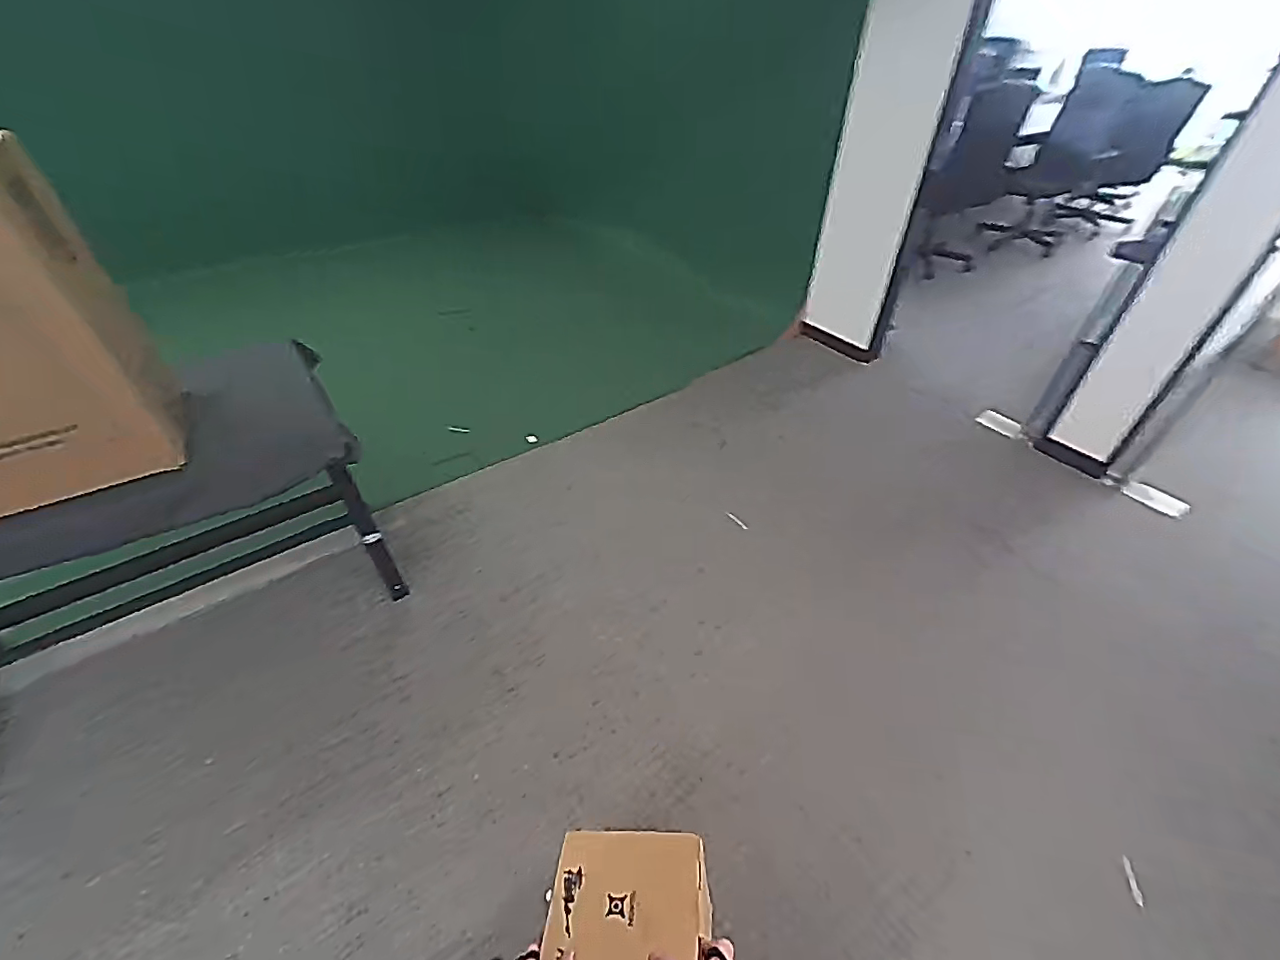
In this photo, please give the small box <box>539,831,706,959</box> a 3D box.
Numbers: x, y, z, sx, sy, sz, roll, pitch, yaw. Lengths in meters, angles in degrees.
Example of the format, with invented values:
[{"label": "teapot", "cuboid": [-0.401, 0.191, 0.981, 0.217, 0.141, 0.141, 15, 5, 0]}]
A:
[{"label": "small box", "cuboid": [-0.010, 0.556, 0.648, 0.179, 0.176, 0.168, -4, 27, 8]}]
